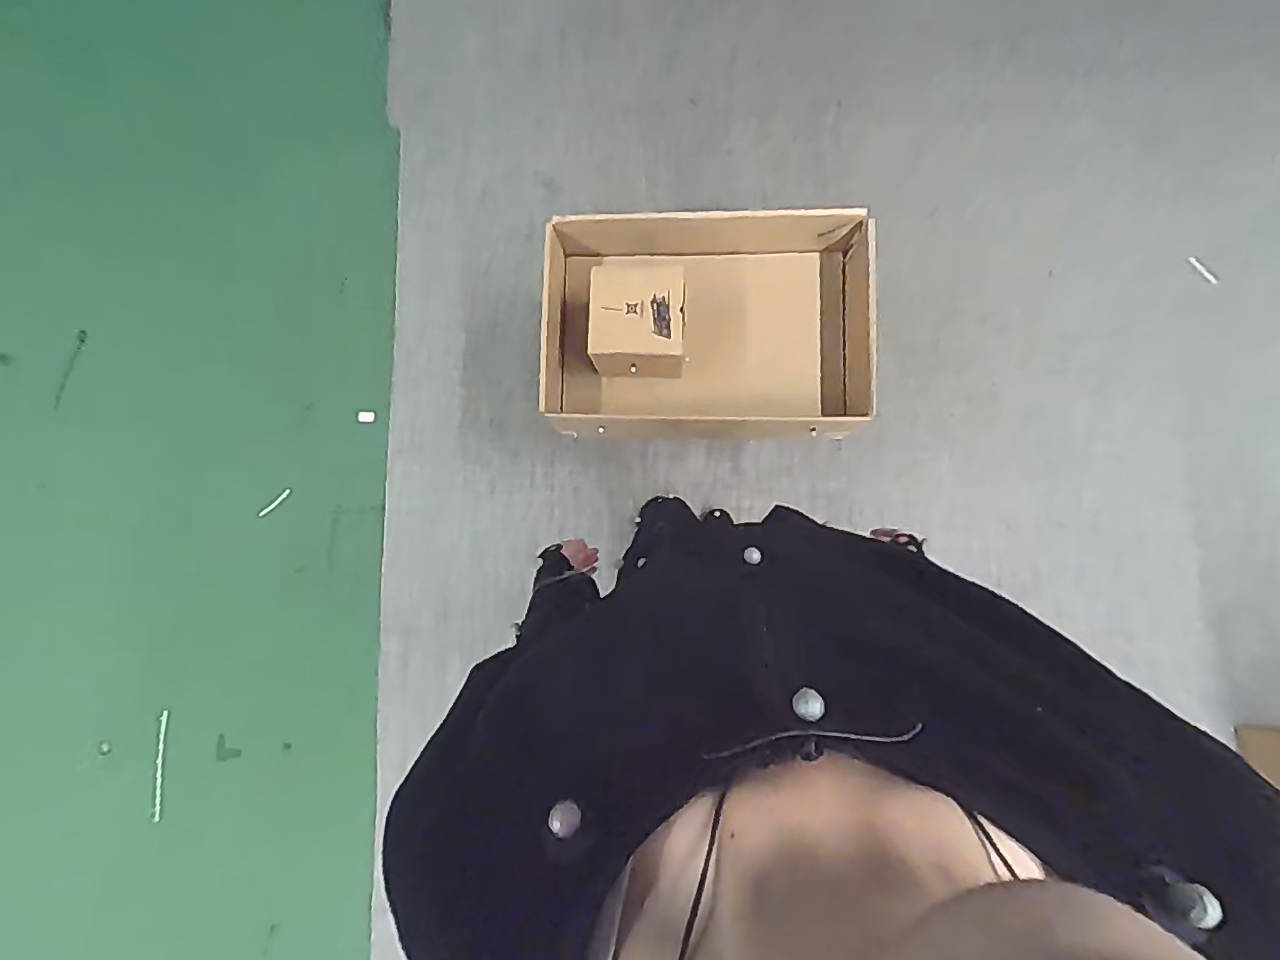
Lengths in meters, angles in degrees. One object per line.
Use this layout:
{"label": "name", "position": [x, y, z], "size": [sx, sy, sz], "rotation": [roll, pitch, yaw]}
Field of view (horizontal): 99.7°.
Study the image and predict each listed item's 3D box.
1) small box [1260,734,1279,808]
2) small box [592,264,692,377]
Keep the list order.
{"label": "small box", "position": [1.614, 0.708, 1.255], "size": [0.168, 0.176, 0.179], "rotation": [-1, 85, 5]}
{"label": "small box", "position": [0.008, -0.303, 1.053], "size": [0.179, 0.176, 0.168], "rotation": [2, 86, 5]}
